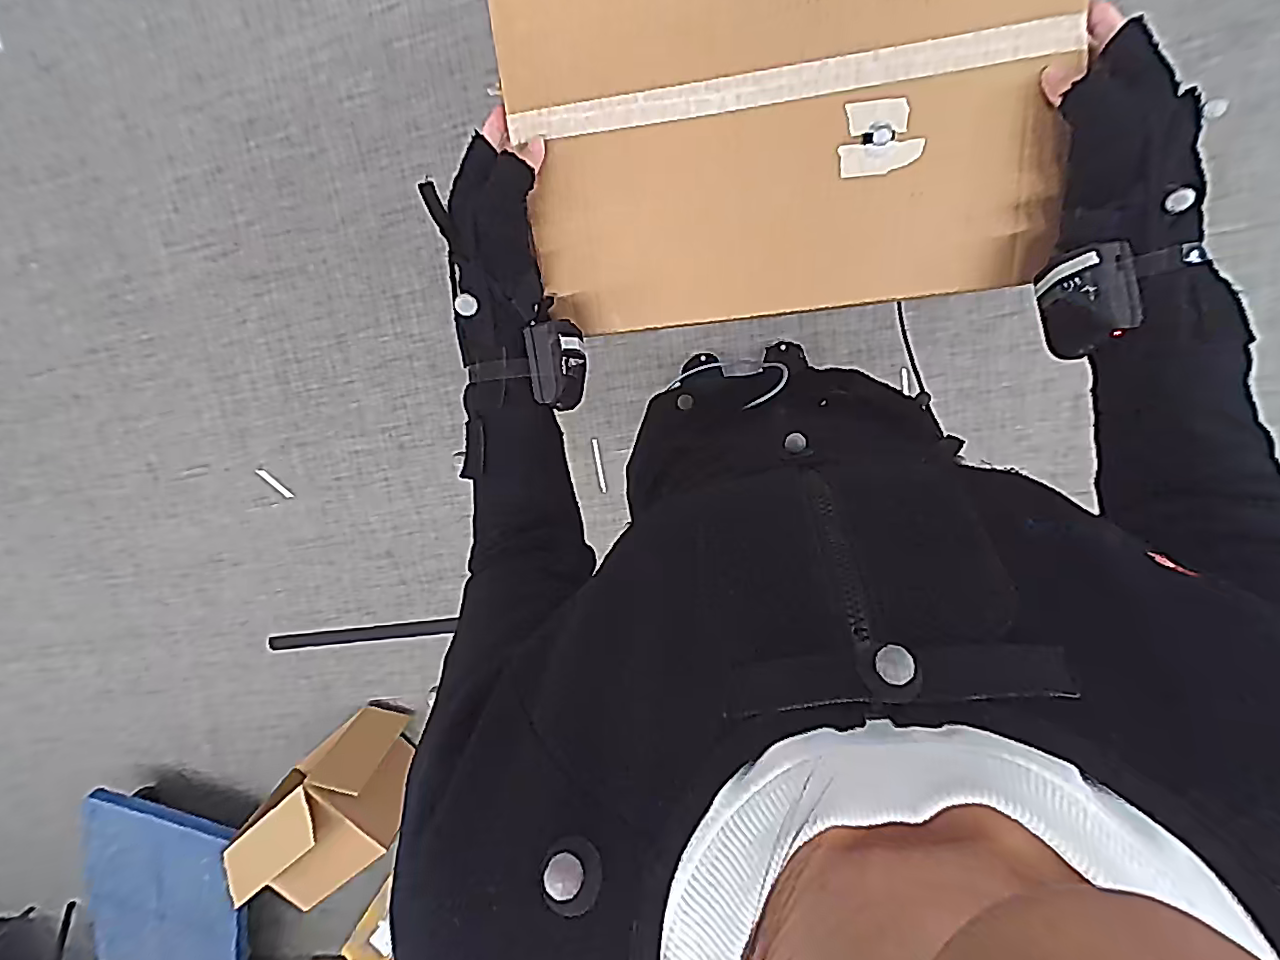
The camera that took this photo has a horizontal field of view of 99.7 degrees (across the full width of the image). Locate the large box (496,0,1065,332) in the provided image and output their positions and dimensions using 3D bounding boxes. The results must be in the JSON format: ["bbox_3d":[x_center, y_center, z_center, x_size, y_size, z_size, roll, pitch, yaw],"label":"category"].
[{"bbox_3d":[0.110,-0.334,0.544,0.408,0.320,0.320,-6,106,6],"label":"large box"}]
